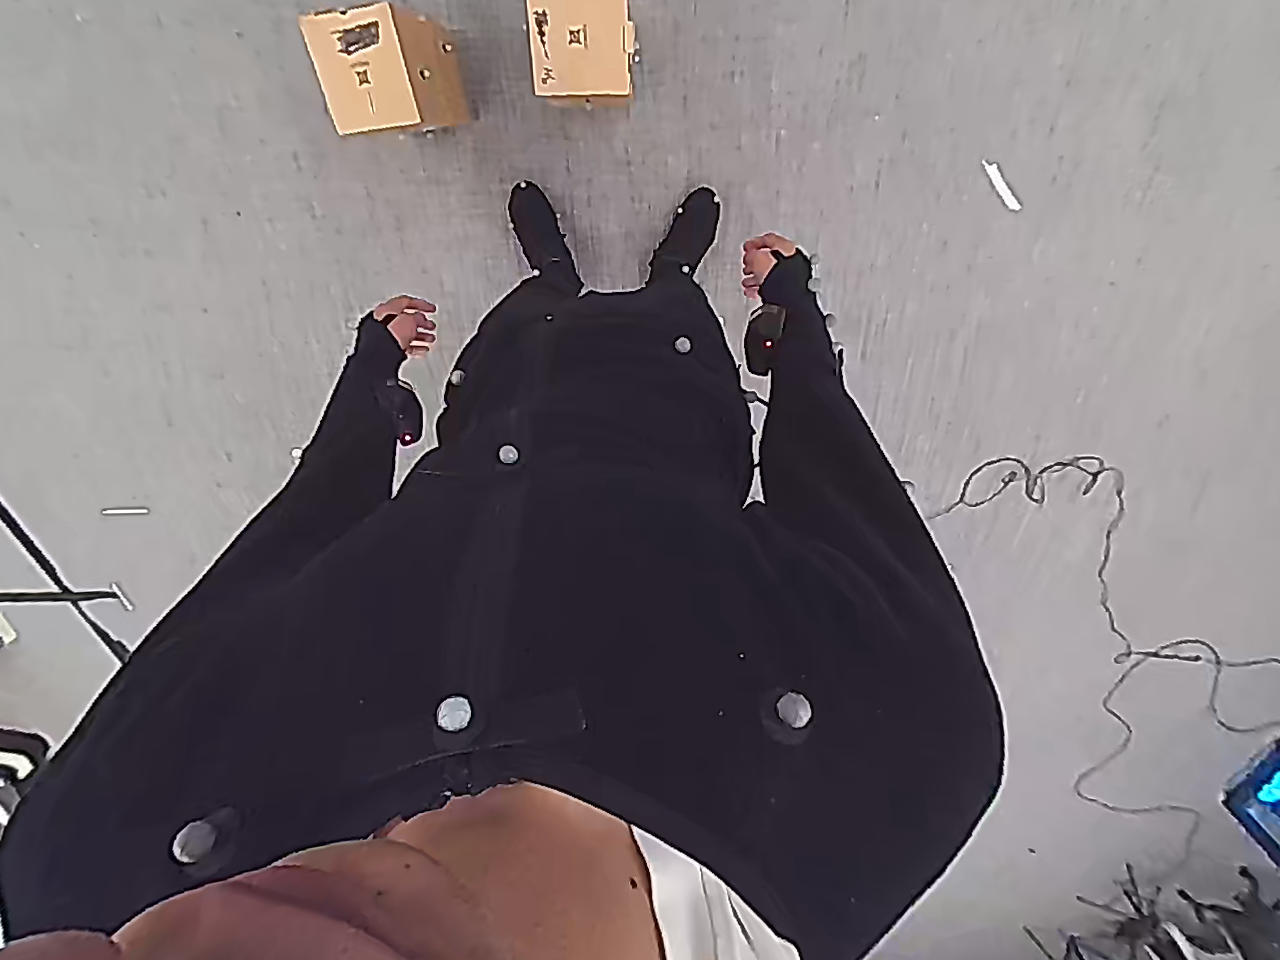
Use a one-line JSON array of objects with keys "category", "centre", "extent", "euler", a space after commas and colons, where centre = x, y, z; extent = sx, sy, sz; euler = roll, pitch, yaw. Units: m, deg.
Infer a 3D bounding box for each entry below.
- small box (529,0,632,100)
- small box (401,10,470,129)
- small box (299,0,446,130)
[{"category": "small box", "centre": [-0.105, -0.814, 1.004], "extent": [0.179, 0.176, 0.168], "euler": [0, 122, -1]}, {"category": "small box", "centre": [-0.486, -0.869, 1.162], "extent": [0.168, 0.176, 0.179], "euler": [-6, 122, 4]}, {"category": "small box", "centre": [-0.493, -0.777, 1.026], "extent": [0.168, 0.176, 0.179], "euler": [-5, 123, 4]}]
